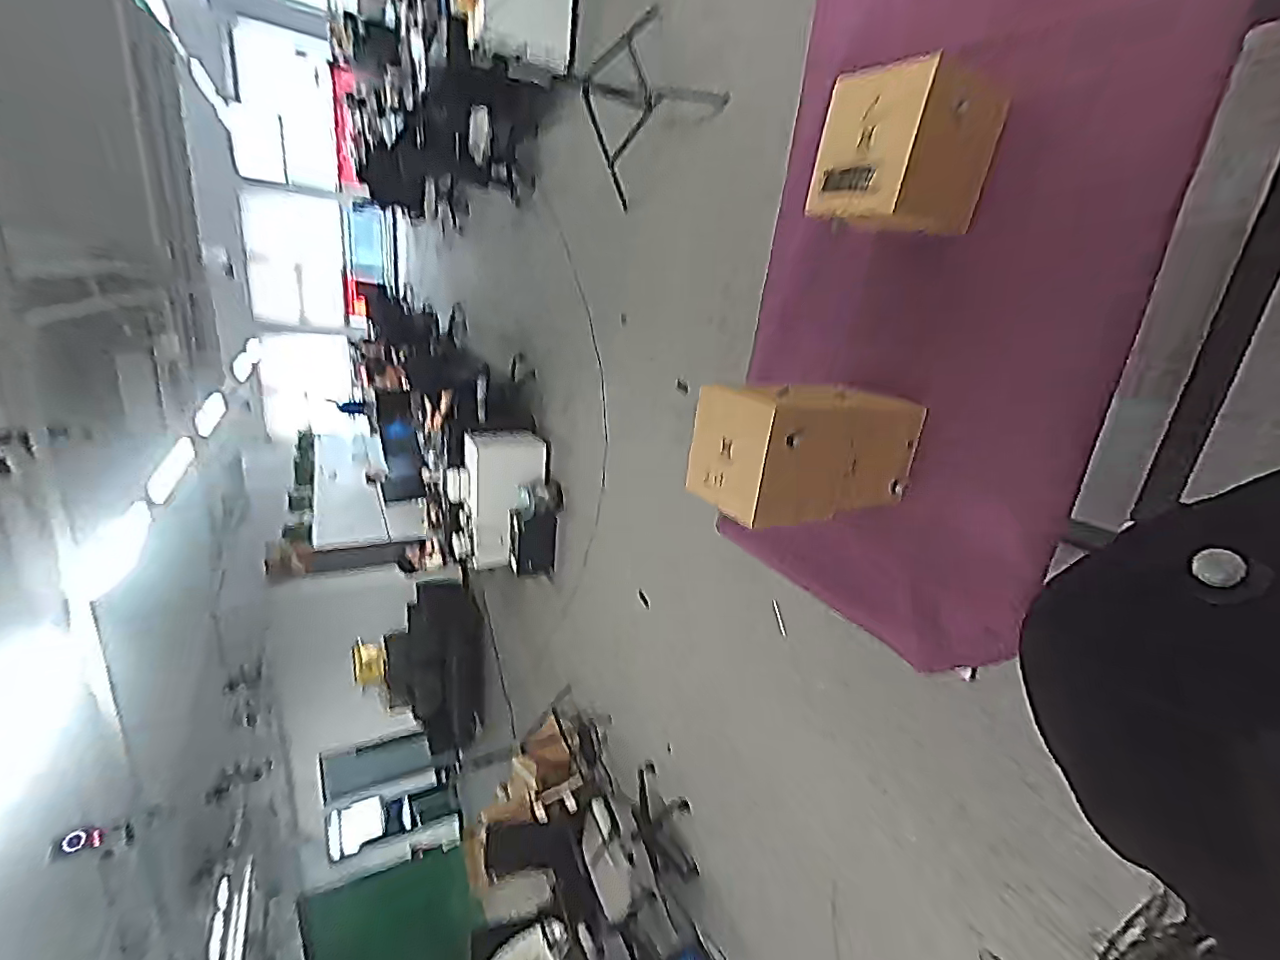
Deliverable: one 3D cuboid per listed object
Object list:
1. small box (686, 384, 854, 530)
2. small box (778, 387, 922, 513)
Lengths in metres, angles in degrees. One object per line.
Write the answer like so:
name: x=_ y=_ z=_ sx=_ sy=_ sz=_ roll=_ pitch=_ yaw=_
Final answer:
small box: x=0.194 y=-0.043 z=0.818 sx=0.168 sy=0.176 sz=0.179 roll=34 pitch=122 yaw=54
small box: x=0.333 y=-0.060 z=0.906 sx=0.179 sy=0.176 sz=0.168 roll=35 pitch=123 yaw=54
